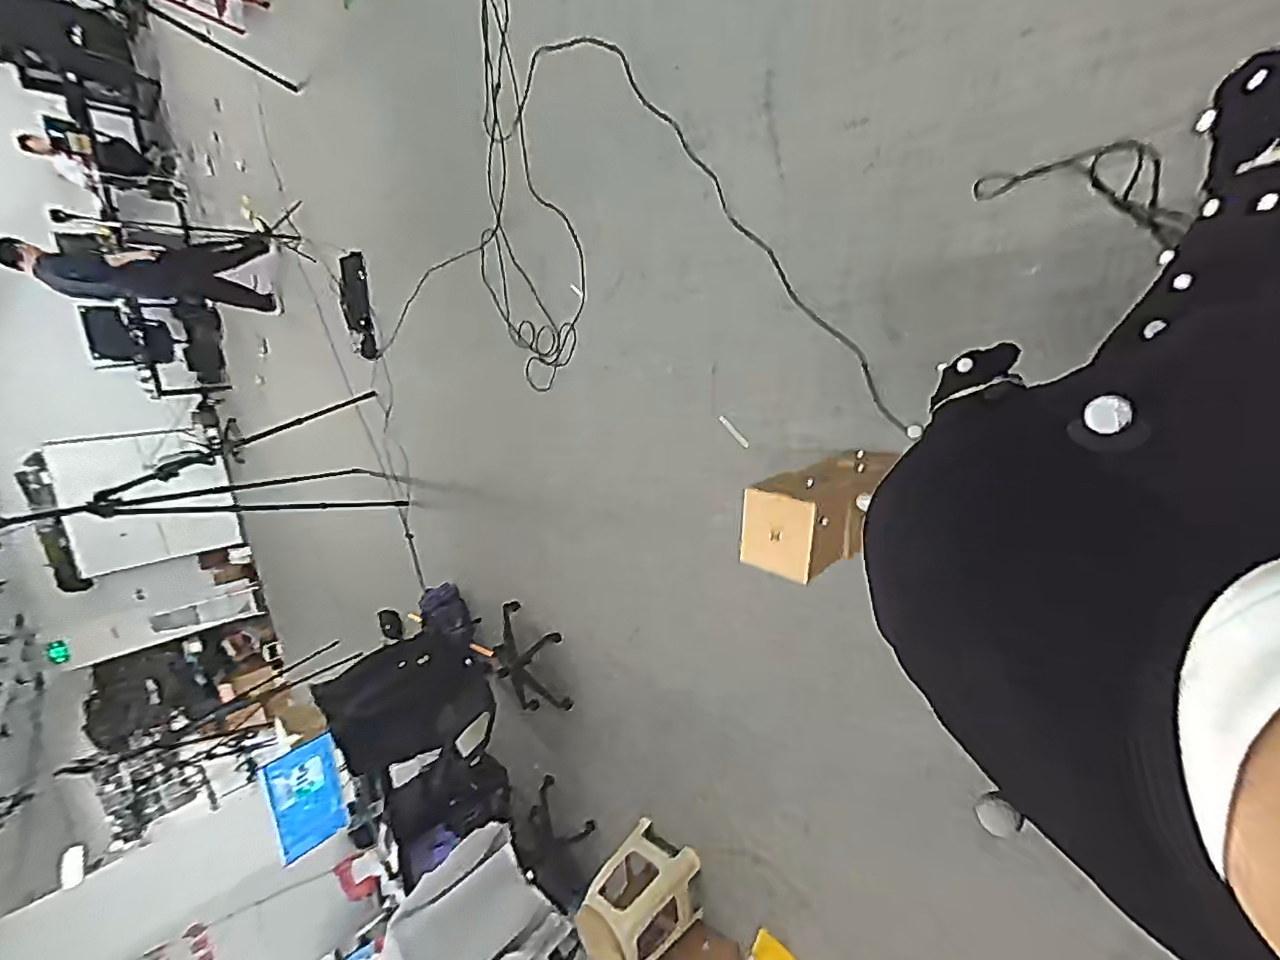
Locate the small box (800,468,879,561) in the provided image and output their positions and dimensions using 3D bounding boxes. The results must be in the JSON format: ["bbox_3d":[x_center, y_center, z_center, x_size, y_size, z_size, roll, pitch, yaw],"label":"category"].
[{"bbox_3d":[0.468,0.074,1.315,0.168,0.176,0.179,9,109,43],"label":"small box"}]

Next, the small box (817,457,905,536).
[{"bbox_3d":[0.585,0.036,1.428,0.168,0.176,0.179,6,104,46],"label":"small box"}]

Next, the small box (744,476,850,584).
[{"bbox_3d":[0.350,0.104,1.207,0.168,0.176,0.179,15,111,41],"label":"small box"}]
